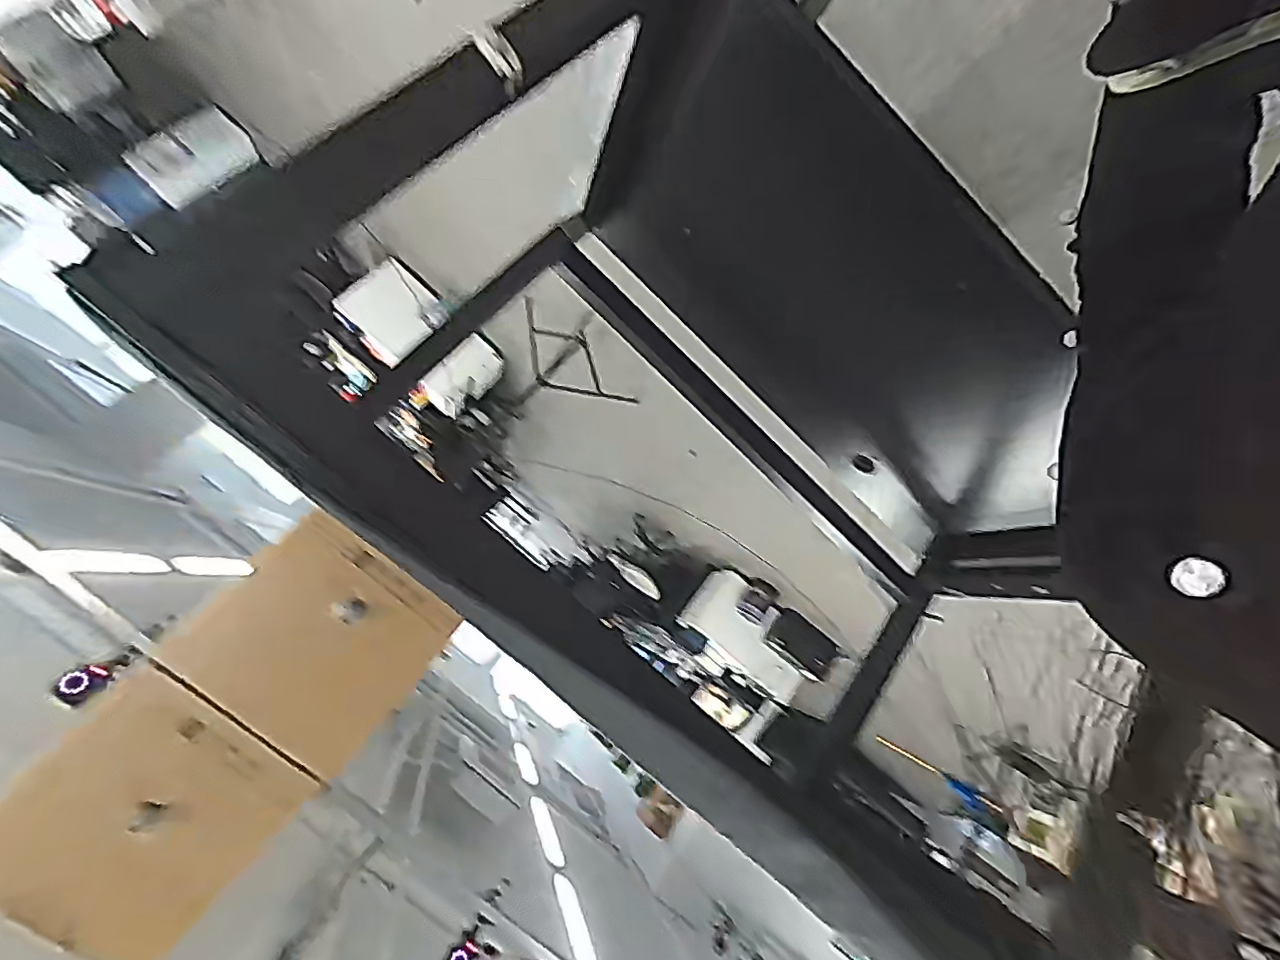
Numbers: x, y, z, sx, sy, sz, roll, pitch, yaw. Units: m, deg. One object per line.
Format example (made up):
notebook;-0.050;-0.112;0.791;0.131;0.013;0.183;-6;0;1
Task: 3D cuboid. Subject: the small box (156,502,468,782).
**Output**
small box;-0.285;0.139;0.524;0.168;0.176;0.179;42;162;-8

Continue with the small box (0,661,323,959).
small box;-0.387;0.258;0.475;0.168;0.176;0.179;43;162;-9
